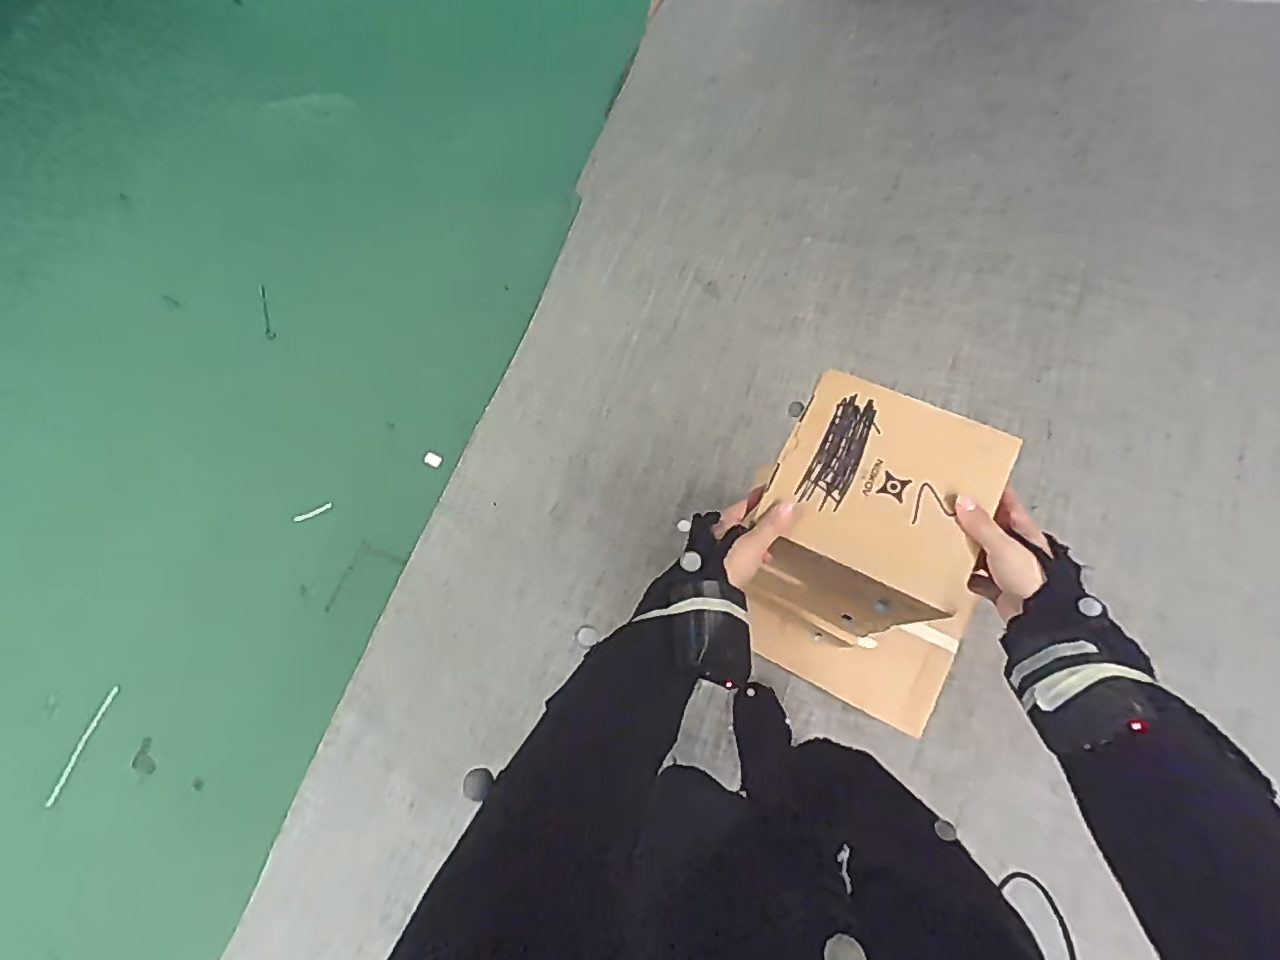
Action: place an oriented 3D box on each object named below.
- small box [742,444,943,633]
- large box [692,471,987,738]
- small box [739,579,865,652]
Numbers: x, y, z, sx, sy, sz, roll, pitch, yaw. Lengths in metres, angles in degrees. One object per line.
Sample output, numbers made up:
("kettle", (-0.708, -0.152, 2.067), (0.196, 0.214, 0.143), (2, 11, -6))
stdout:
("small box", (0.241, 0.084, 0.688), (0.179, 0.176, 0.168), (26, 78, 16))
("large box", (0.350, 0.231, 1.049), (0.408, 0.320, 0.320), (25, 80, 16))
("small box", (0.268, 0.148, 0.834), (0.179, 0.176, 0.168), (26, 78, 18))
